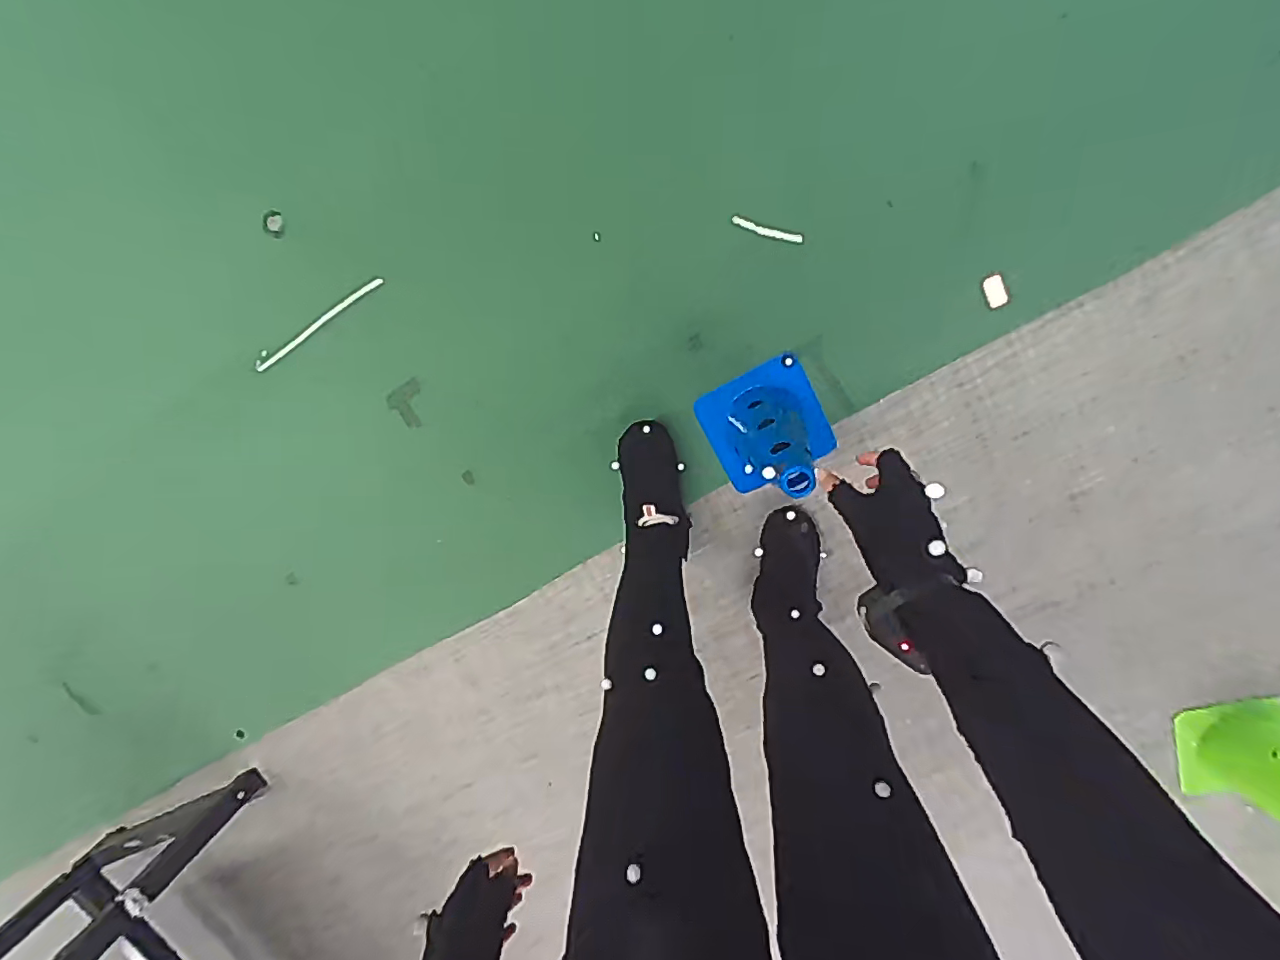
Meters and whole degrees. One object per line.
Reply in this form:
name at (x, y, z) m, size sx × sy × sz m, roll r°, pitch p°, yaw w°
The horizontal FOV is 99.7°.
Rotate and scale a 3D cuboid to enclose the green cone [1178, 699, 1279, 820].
green cone at (1.115, 0.559, 0.858) m, size 0.200 × 0.368 × 0.202 m, roll -18°, pitch 103°, yaw 12°
